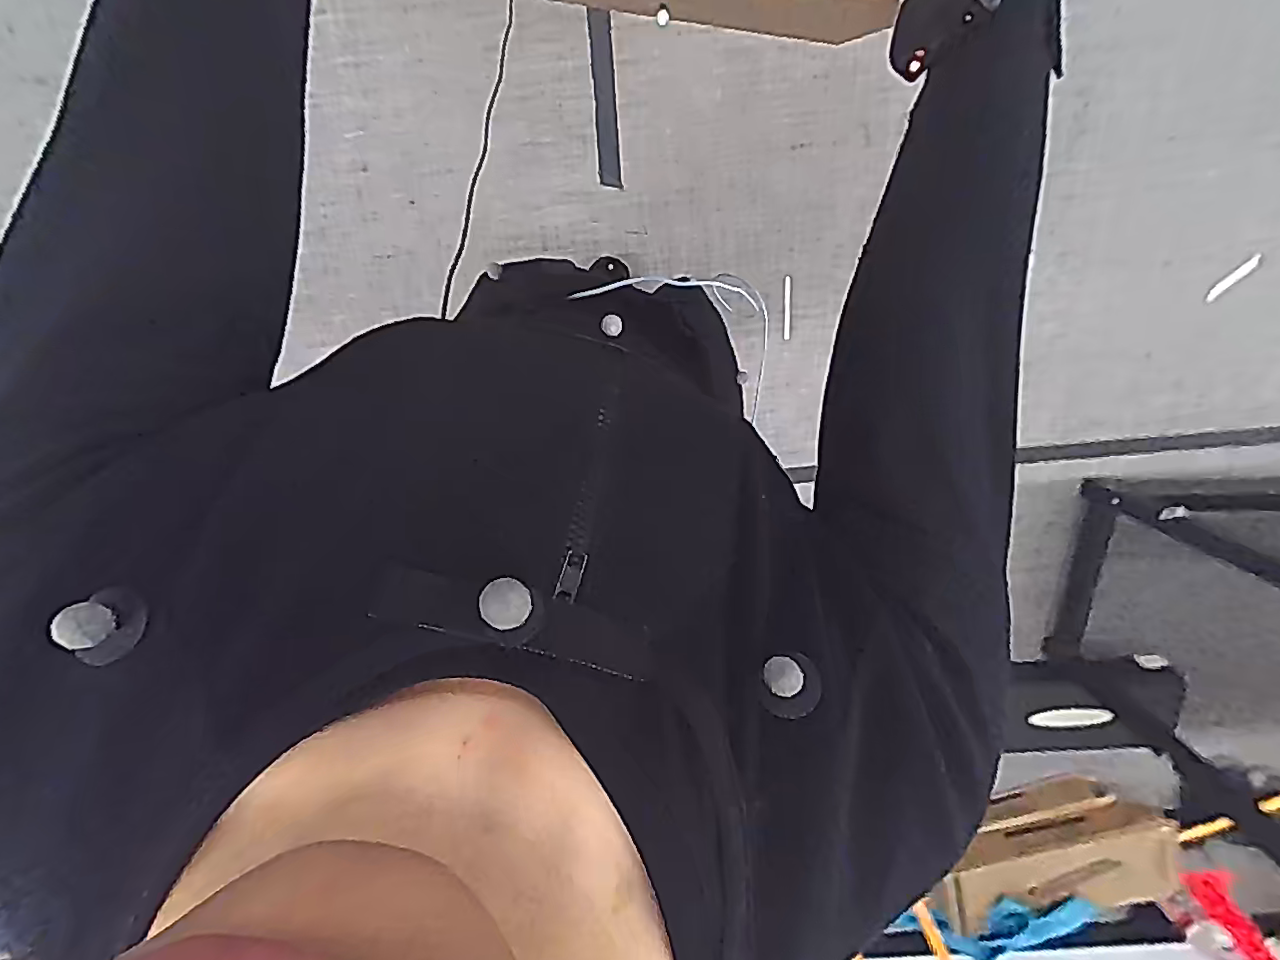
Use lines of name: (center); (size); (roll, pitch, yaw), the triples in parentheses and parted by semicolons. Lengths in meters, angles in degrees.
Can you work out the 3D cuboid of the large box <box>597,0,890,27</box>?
large box: (0.035, -0.573, 0.408); (0.408, 0.320, 0.320); (8, 124, 0)
